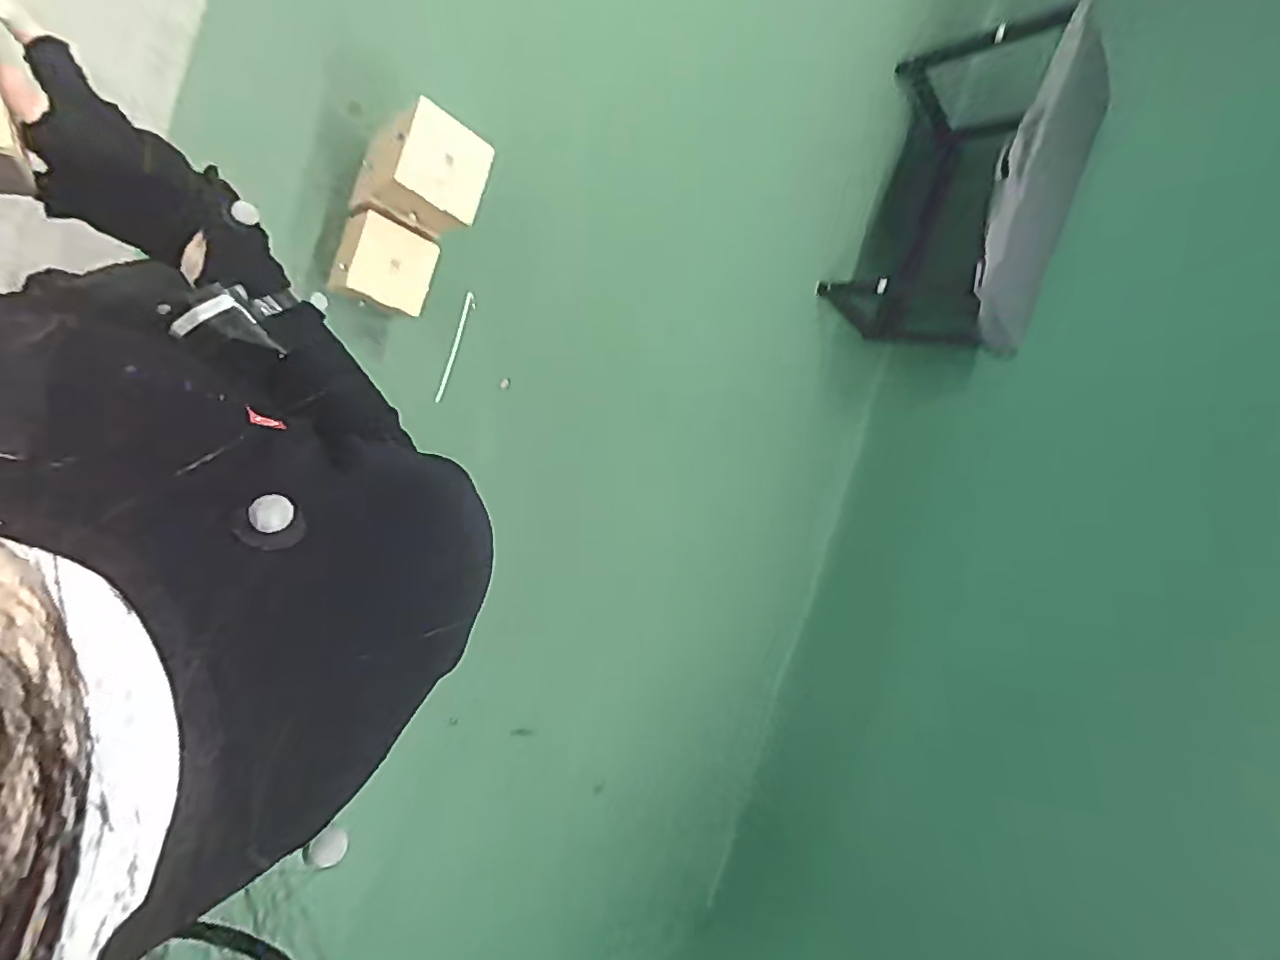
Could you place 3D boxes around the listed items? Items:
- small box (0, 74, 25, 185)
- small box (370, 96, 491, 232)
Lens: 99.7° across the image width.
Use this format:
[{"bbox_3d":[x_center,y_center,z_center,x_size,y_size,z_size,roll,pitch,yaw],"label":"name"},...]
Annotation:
[{"bbox_3d":[-0.421,-0.244,0.239,0.168,0.176,0.179,-17,115,-42],"label":"small box"},{"bbox_3d":[-0.451,-0.659,1.153,0.168,0.176,0.179,19,89,-44],"label":"small box"}]
